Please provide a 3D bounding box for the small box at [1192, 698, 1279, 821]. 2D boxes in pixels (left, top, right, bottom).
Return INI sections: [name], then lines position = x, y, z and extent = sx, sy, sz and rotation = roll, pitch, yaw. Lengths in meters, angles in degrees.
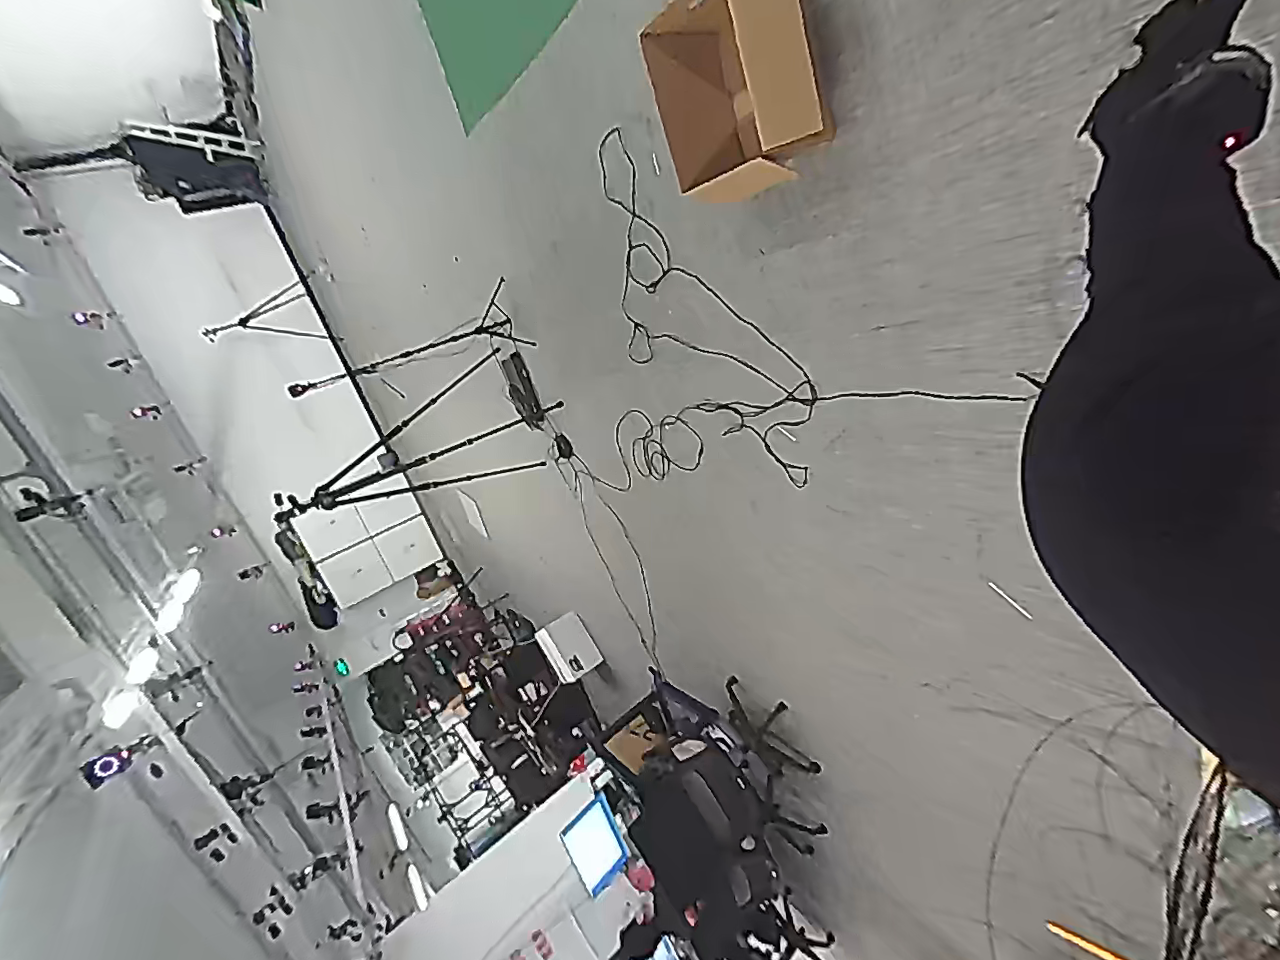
[small box]
position = 1.407, 0.632, 1.234
extent = 0.179, 0.176, 0.168
rotation = 5, 119, 55
